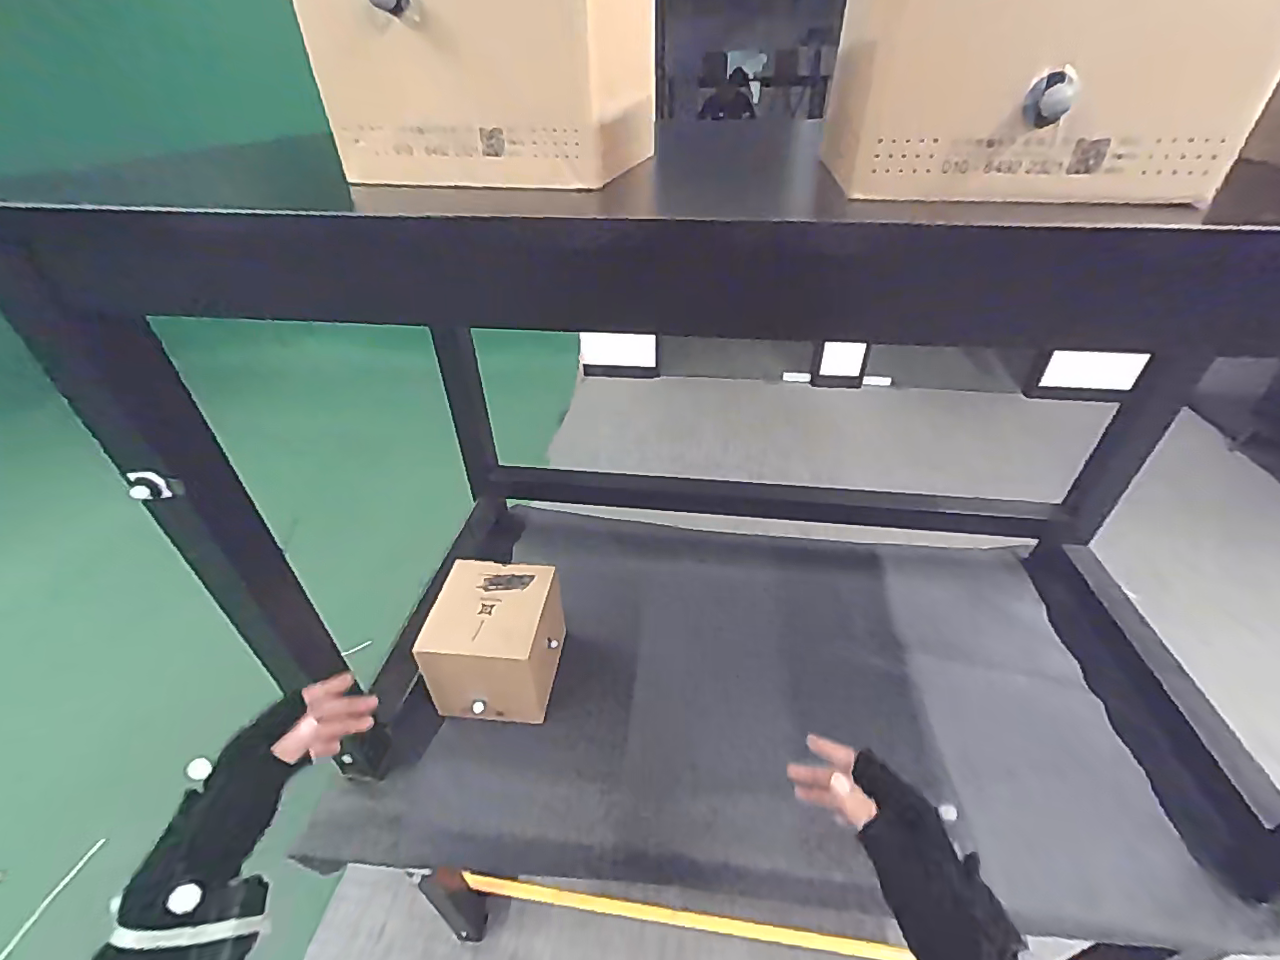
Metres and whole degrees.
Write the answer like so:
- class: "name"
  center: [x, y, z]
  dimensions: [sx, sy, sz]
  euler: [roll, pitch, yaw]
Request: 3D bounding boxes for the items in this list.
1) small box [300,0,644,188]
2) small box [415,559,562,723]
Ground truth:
- class: "small box"
  center: [-0.092, -0.295, 0.351]
  dimensions: [0.168, 0.176, 0.179]
  euler: [6, 37, 10]
- class: "small box"
  center: [-0.220, 0.248, 0.844]
  dimensions: [0.168, 0.176, 0.179]
  euler: [3, 37, 5]
